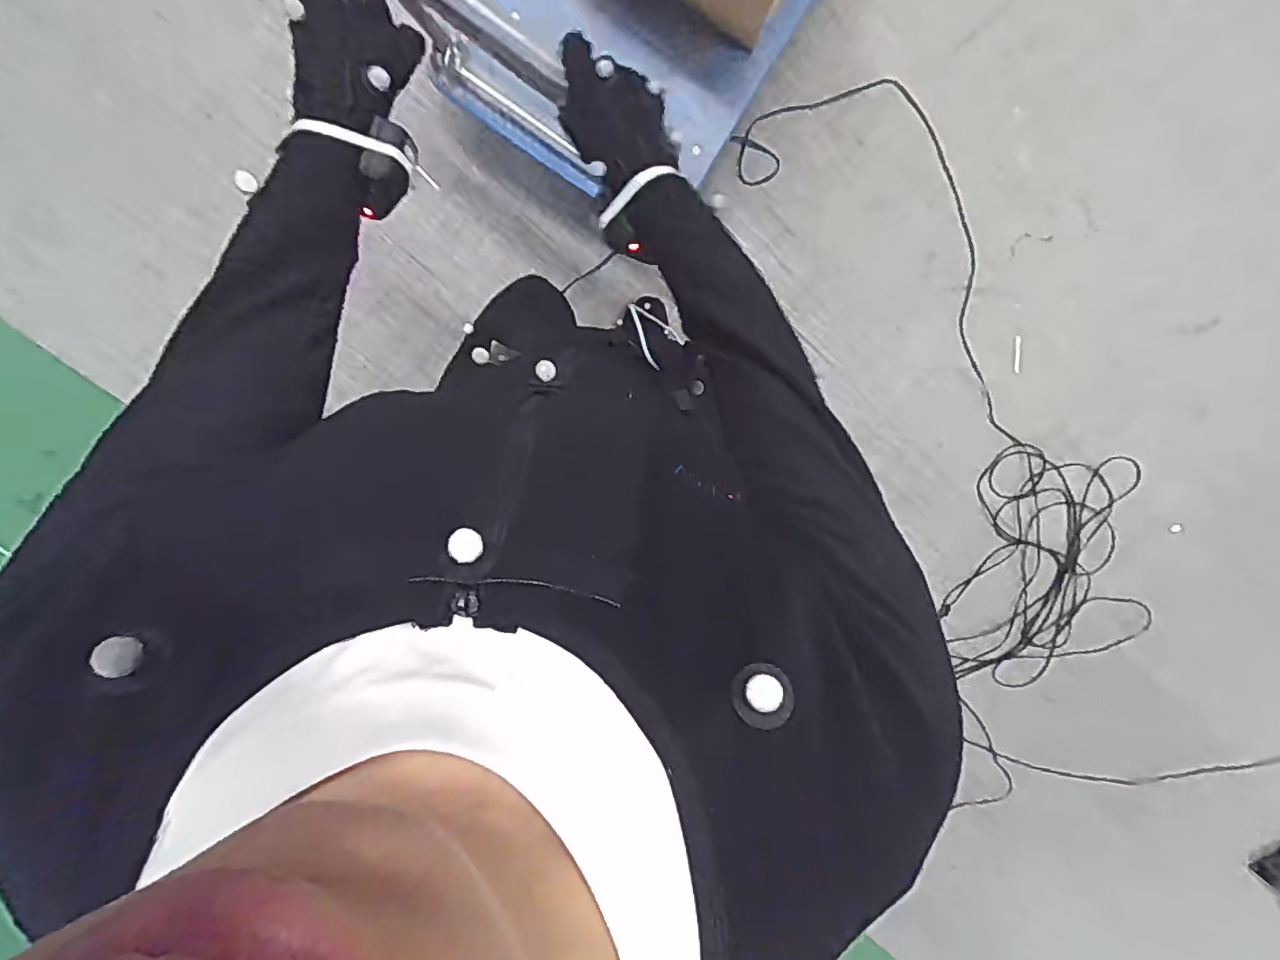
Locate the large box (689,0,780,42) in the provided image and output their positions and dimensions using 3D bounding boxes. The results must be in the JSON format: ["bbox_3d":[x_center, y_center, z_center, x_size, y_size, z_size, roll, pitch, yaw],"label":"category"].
[{"bbox_3d":[0.122,-1.014,0.843,0.408,0.320,0.320,29,105,-7],"label":"large box"}]
